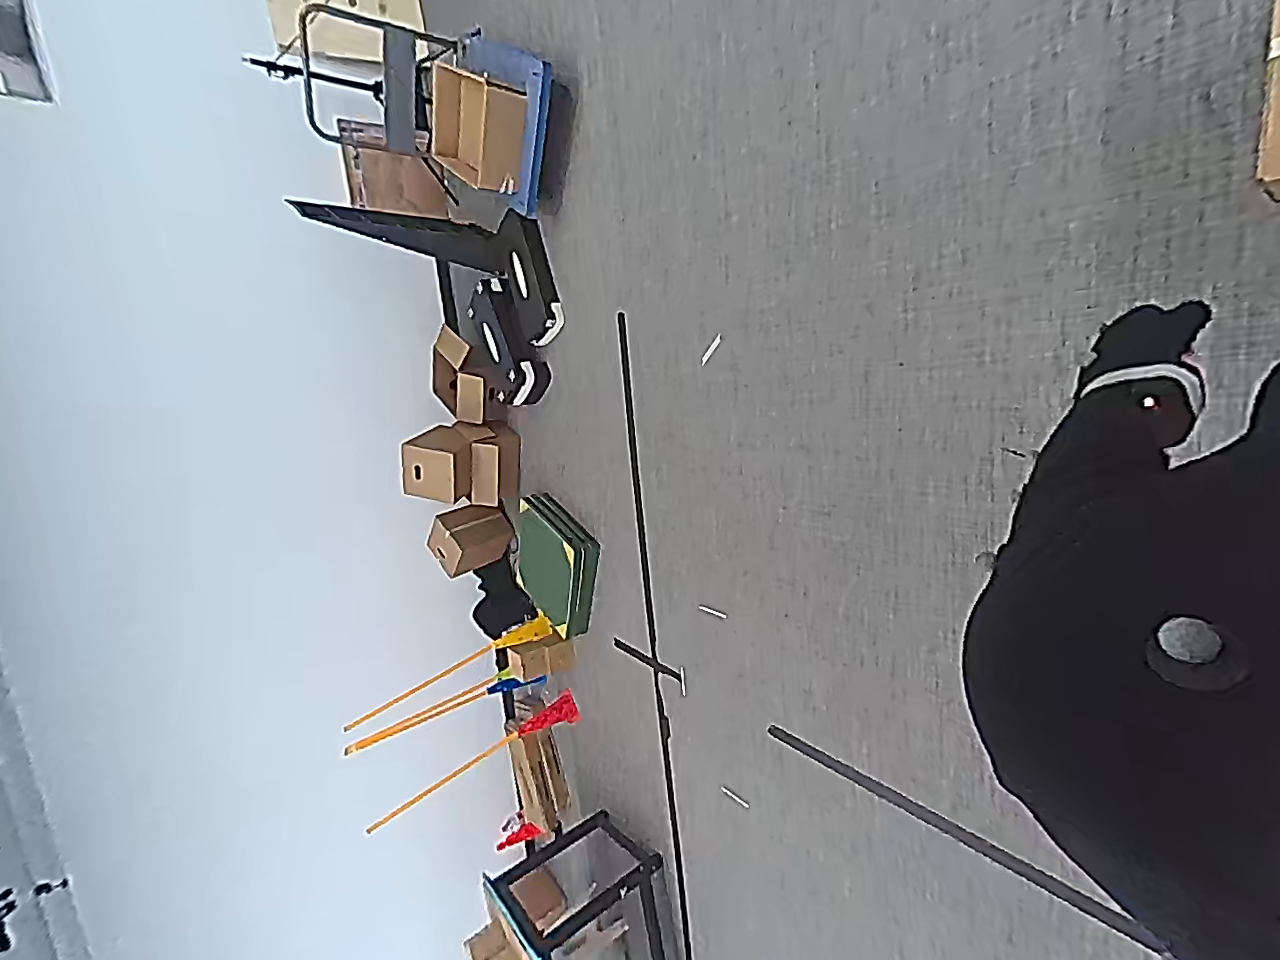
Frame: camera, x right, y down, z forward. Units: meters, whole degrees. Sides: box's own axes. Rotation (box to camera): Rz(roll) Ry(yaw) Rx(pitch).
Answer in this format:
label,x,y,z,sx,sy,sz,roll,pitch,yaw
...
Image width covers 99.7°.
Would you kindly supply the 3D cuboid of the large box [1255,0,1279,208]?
label,x,y,z,sx,sy,sz,roll,pitch,yaw
large box,1.026,-0.553,0.618,0.408,0.320,0.320,7,106,52
